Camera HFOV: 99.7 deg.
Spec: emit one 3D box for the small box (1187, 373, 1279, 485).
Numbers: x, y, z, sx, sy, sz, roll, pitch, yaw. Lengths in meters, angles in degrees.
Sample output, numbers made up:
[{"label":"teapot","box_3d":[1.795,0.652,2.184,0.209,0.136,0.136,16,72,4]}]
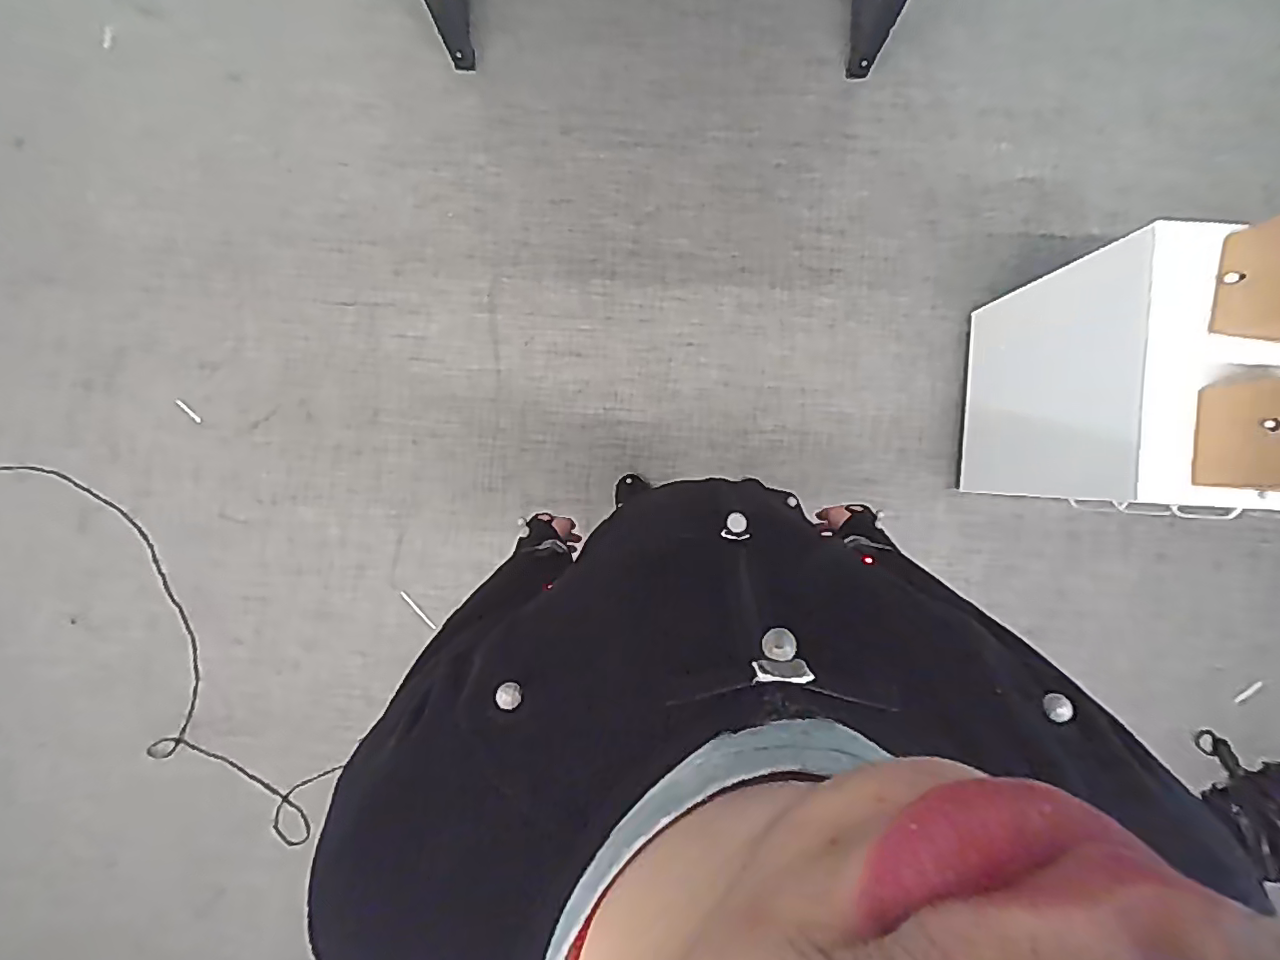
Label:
[{"label":"small box","box_3d":[1.075,-0.082,0.901,0.168,0.176,0.179,3,90,-1]}]
